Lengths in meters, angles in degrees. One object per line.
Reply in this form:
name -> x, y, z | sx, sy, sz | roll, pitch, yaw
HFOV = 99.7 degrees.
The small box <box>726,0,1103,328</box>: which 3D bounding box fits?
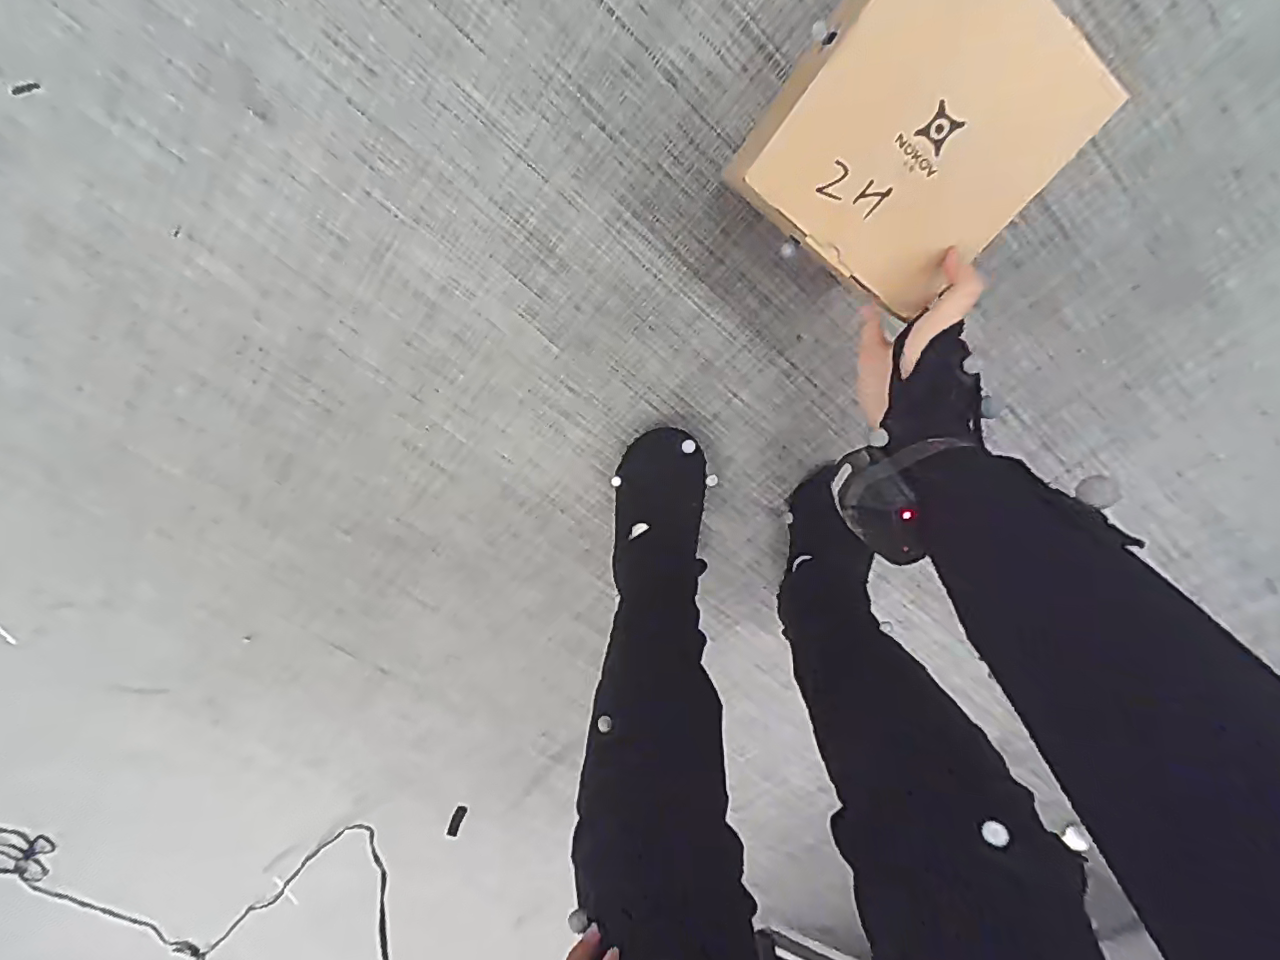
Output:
small box -> 0.183, -0.256, 0.425 | 0.168, 0.176, 0.179 | 33, 116, -14
